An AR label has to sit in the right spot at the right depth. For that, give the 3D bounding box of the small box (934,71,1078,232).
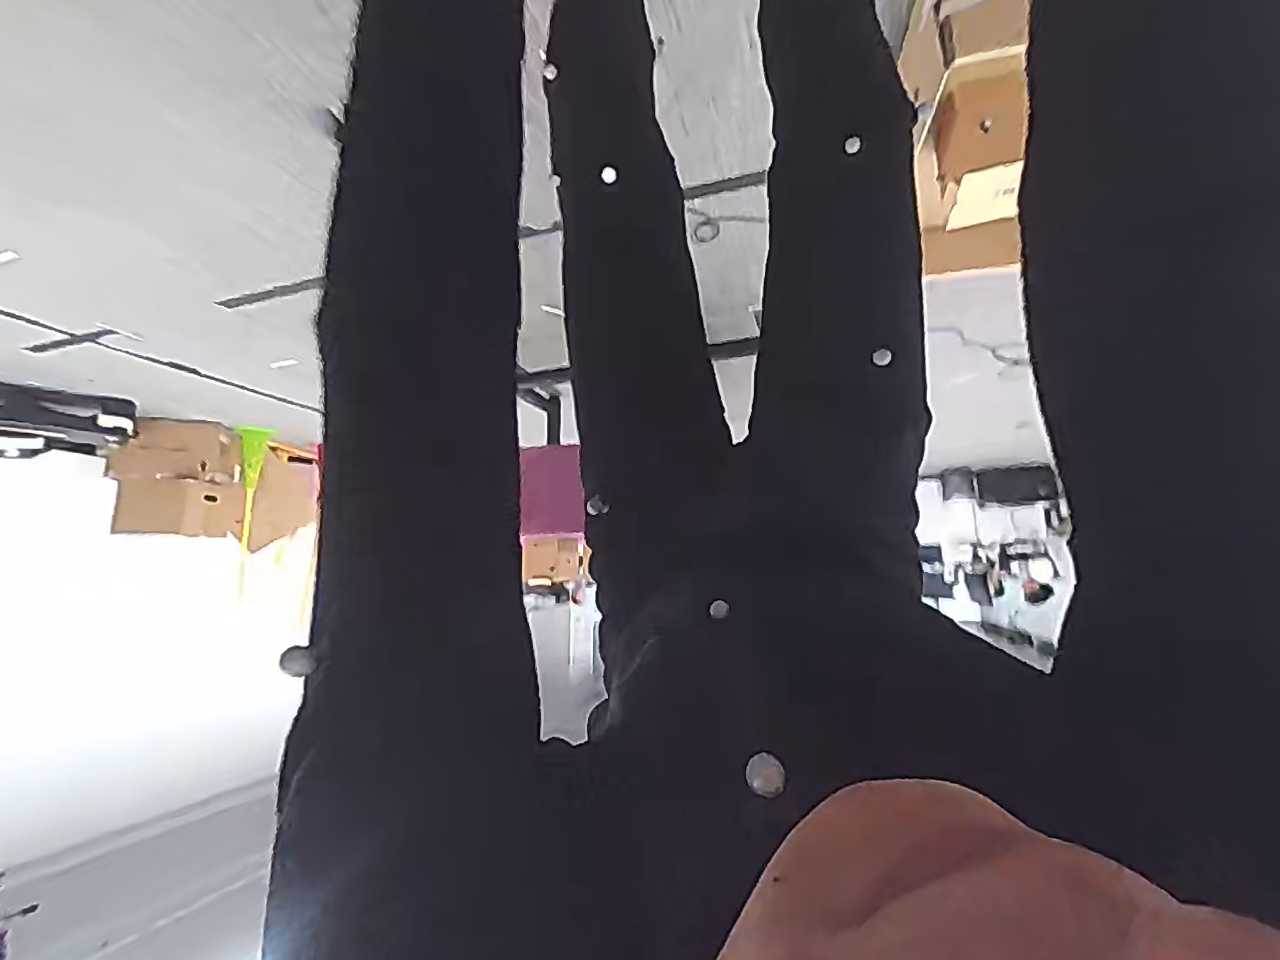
[{"bbox_3d":[0.653,-0.594,0.991,0.179,0.176,0.168,-4,170,18],"label":"small box"}]

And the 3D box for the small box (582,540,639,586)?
[{"bbox_3d":[-0.115,0.320,2.095,0.168,0.176,0.179,-5,169,24],"label":"small box"}]
